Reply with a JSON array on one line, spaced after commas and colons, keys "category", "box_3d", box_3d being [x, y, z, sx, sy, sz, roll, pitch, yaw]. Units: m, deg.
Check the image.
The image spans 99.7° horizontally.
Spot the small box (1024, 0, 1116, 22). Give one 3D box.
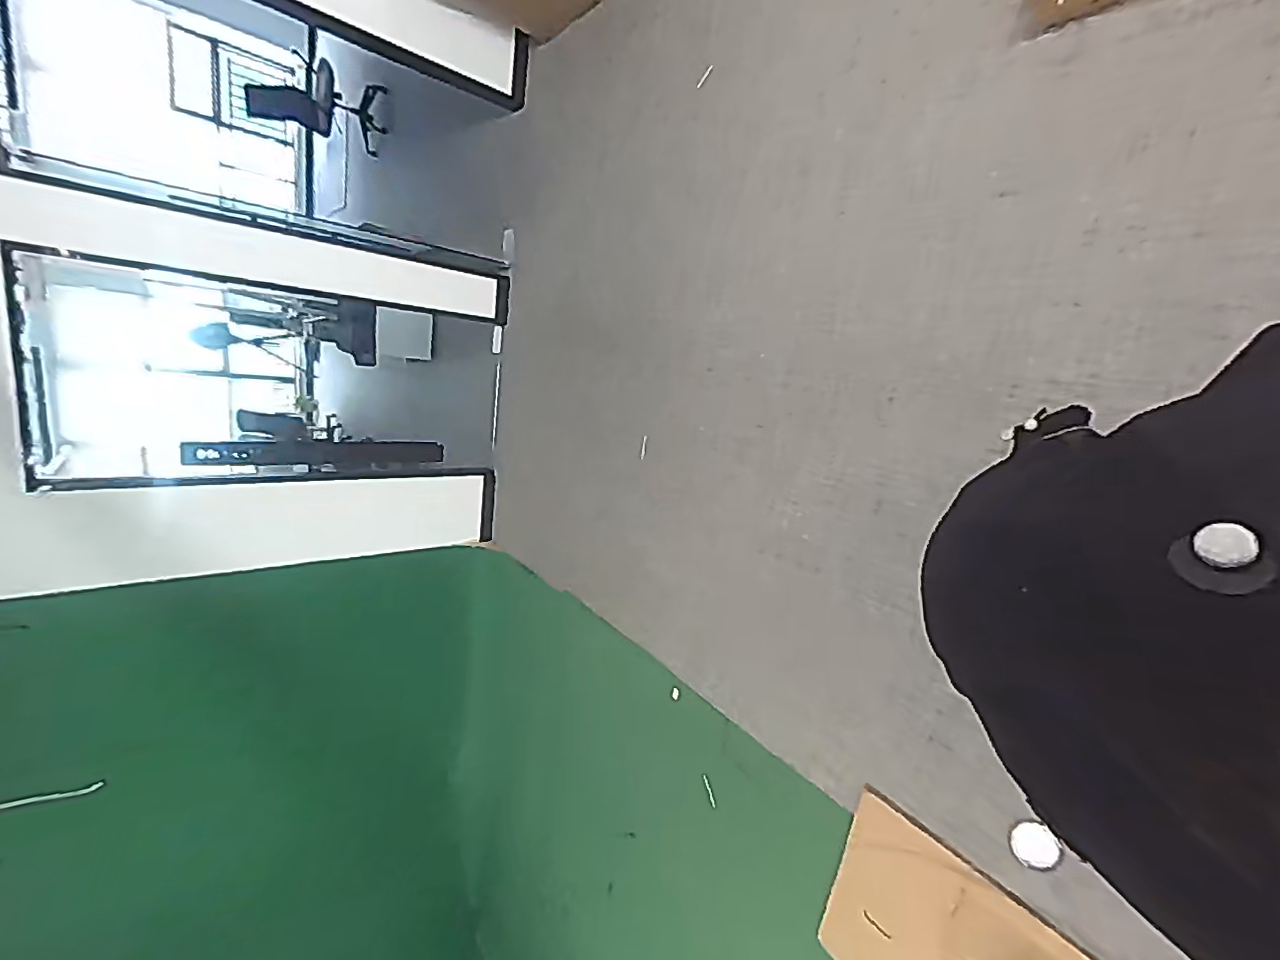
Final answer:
[{"category": "small box", "box_3d": [0.907, -1.080, 1.092, 0.168, 0.176, 0.179, 15, 103, 50]}]
